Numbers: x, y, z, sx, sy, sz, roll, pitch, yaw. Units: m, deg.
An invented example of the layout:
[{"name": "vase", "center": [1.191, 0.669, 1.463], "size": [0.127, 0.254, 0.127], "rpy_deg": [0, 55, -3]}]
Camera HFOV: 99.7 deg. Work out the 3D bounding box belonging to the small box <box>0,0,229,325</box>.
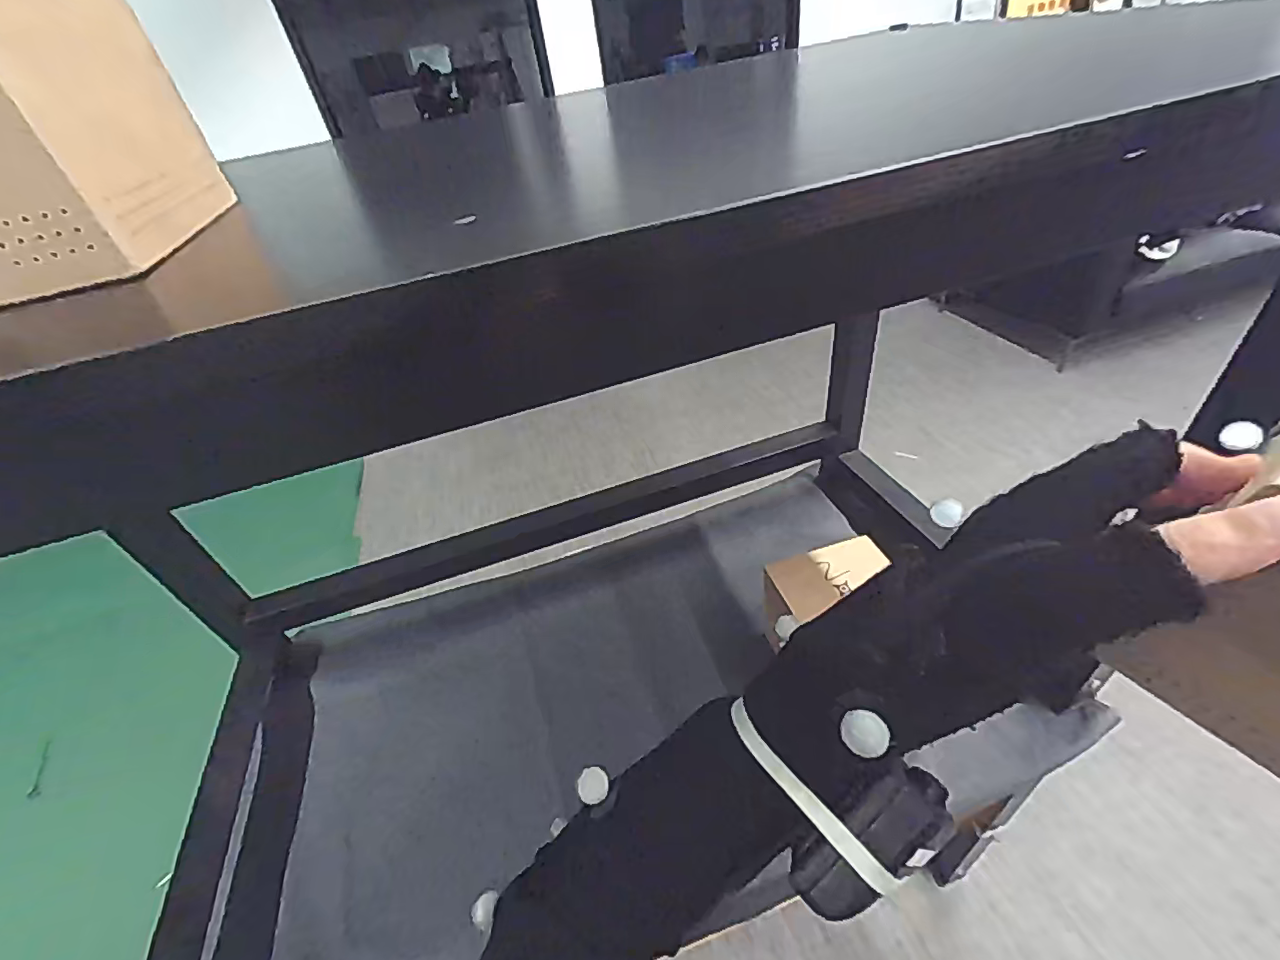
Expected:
[{"name": "small box", "center": [-0.320, -0.162, 0.225], "size": [0.168, 0.176, 0.179], "rpy_deg": [-18, 39, -10]}]
